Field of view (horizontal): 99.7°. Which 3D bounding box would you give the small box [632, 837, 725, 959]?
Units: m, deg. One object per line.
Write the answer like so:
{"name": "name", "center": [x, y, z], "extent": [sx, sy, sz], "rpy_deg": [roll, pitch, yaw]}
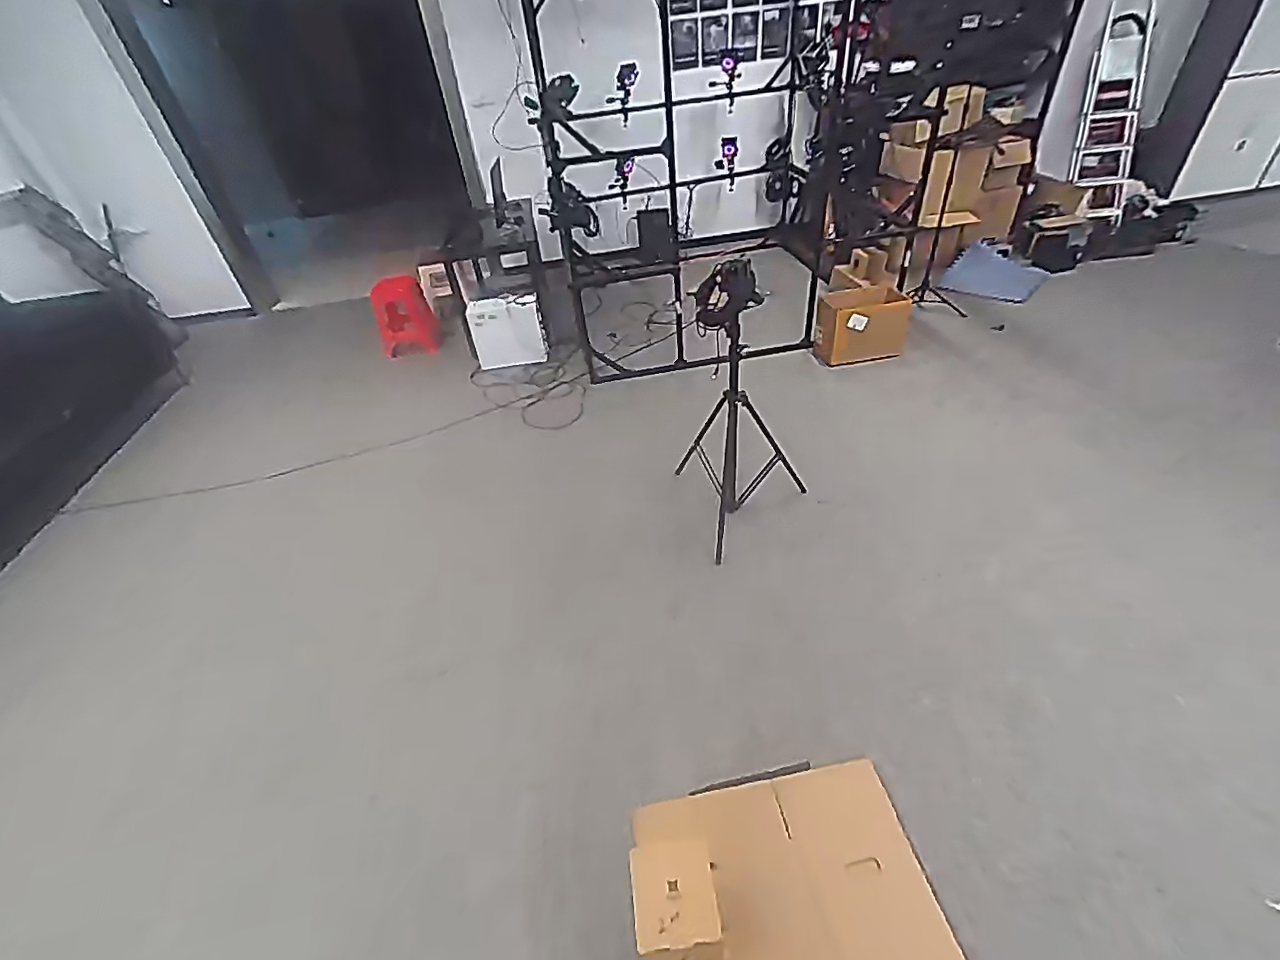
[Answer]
{"name": "small box", "center": [0.078, 0.879, 1.123], "extent": [0.168, 0.176, 0.179], "rpy_deg": [-9, 39, 0]}
